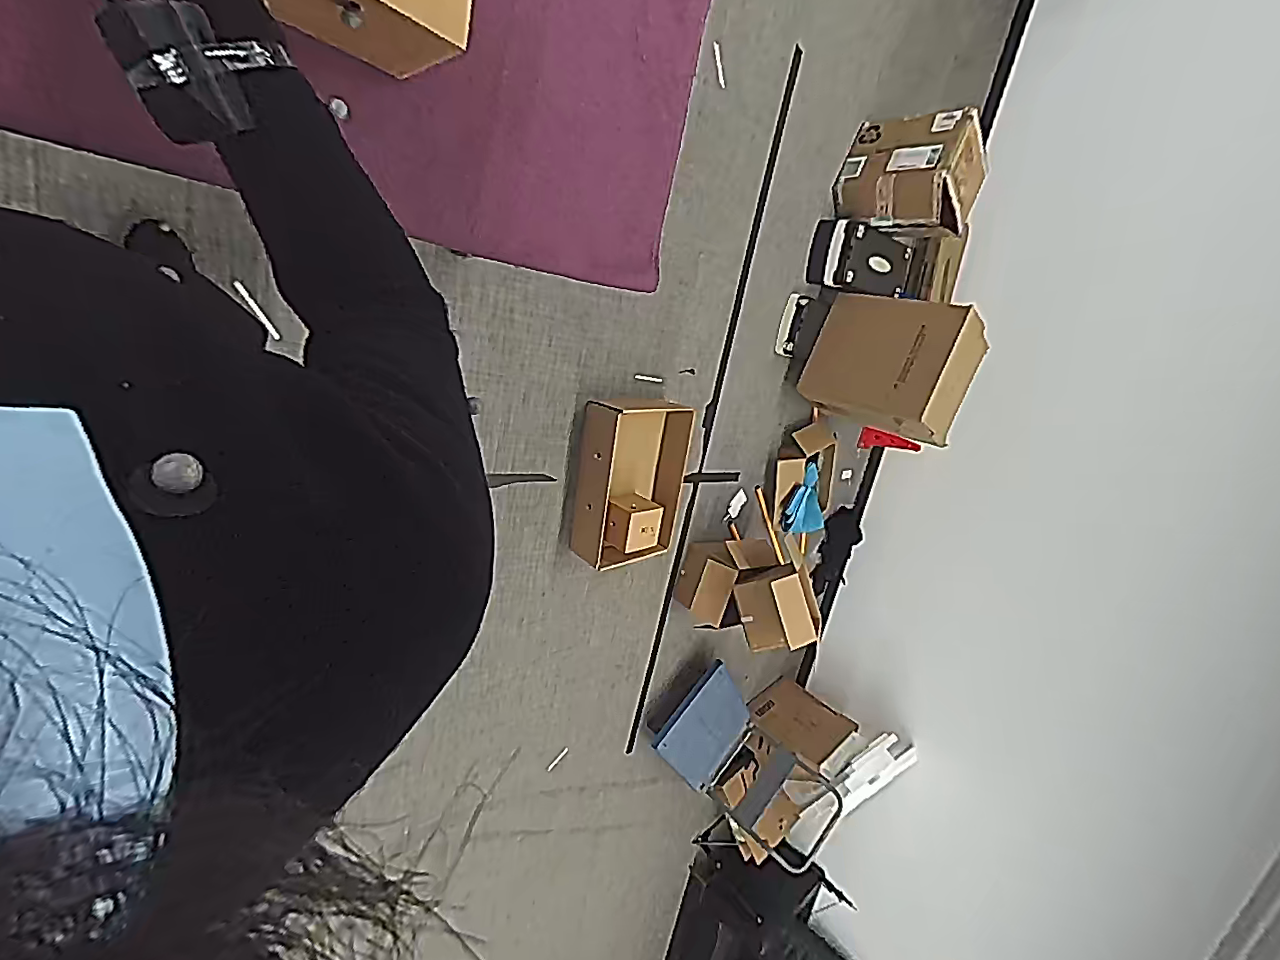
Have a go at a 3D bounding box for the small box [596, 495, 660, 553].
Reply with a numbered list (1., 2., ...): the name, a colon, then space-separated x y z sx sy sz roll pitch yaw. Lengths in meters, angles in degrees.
1. small box: -0.050 0.166 2.112 0.179 0.176 0.168 -7 115 -45

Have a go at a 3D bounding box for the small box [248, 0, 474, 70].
1. small box: -0.273 -0.532 0.520 0.179 0.176 0.168 -1 110 -45
